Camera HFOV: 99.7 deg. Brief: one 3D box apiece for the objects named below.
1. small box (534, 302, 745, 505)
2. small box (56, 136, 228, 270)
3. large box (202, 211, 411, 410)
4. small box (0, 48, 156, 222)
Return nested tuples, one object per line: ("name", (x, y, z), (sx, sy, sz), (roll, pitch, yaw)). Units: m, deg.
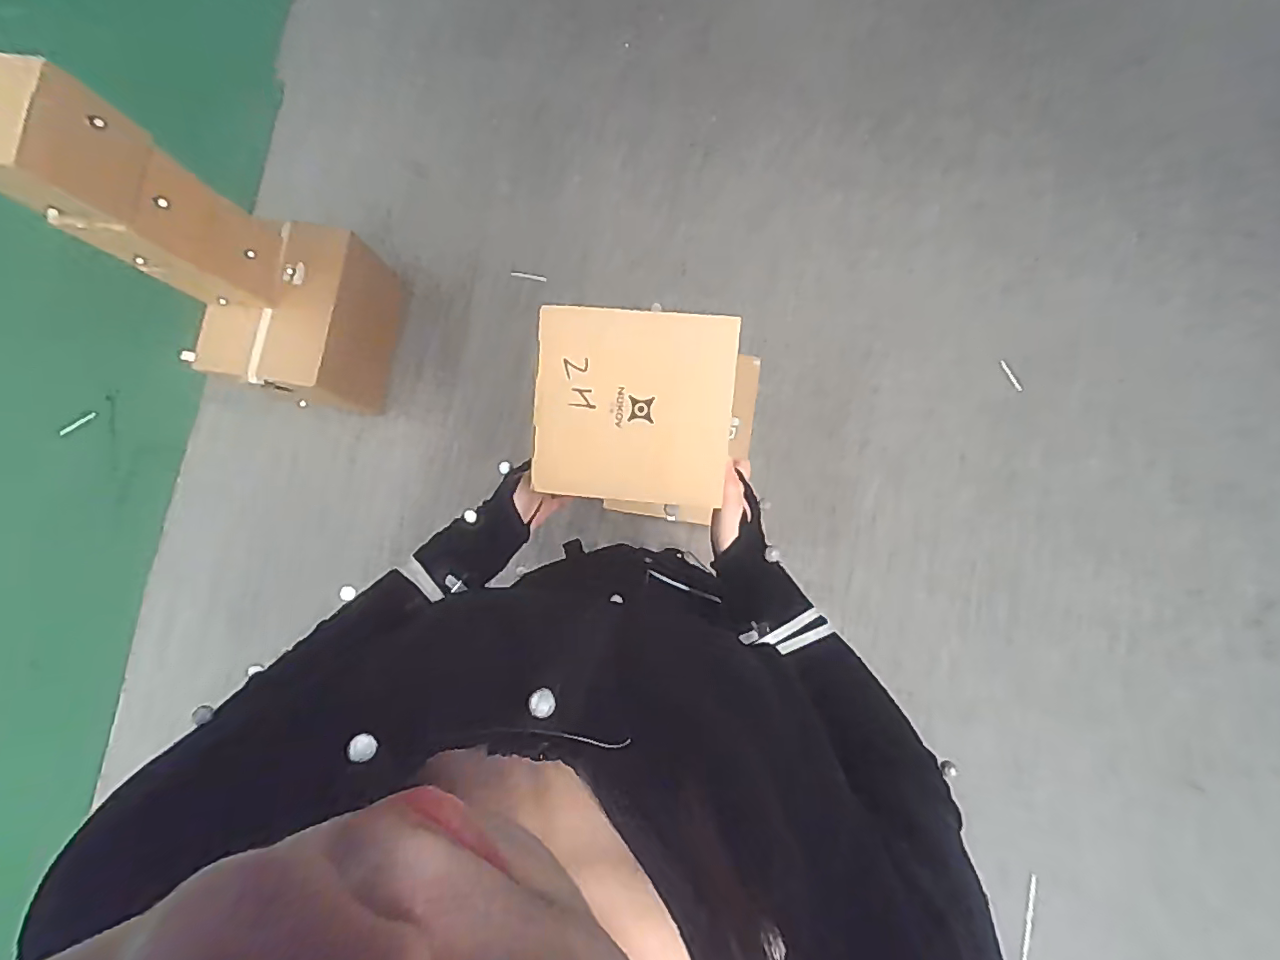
("small box", (0.004, -0.076, 0.553), (0.179, 0.176, 0.168), (6, 97, 5))
("small box", (-0.956, -0.540, 1.055), (0.168, 0.176, 0.179), (9, 86, 6))
("large box", (-0.864, -0.431, 1.450), (0.320, 0.320, 0.408), (9, 84, 3))
("small box", (-0.964, -0.563, 0.894), (0.168, 0.176, 0.179), (11, 86, 7))
